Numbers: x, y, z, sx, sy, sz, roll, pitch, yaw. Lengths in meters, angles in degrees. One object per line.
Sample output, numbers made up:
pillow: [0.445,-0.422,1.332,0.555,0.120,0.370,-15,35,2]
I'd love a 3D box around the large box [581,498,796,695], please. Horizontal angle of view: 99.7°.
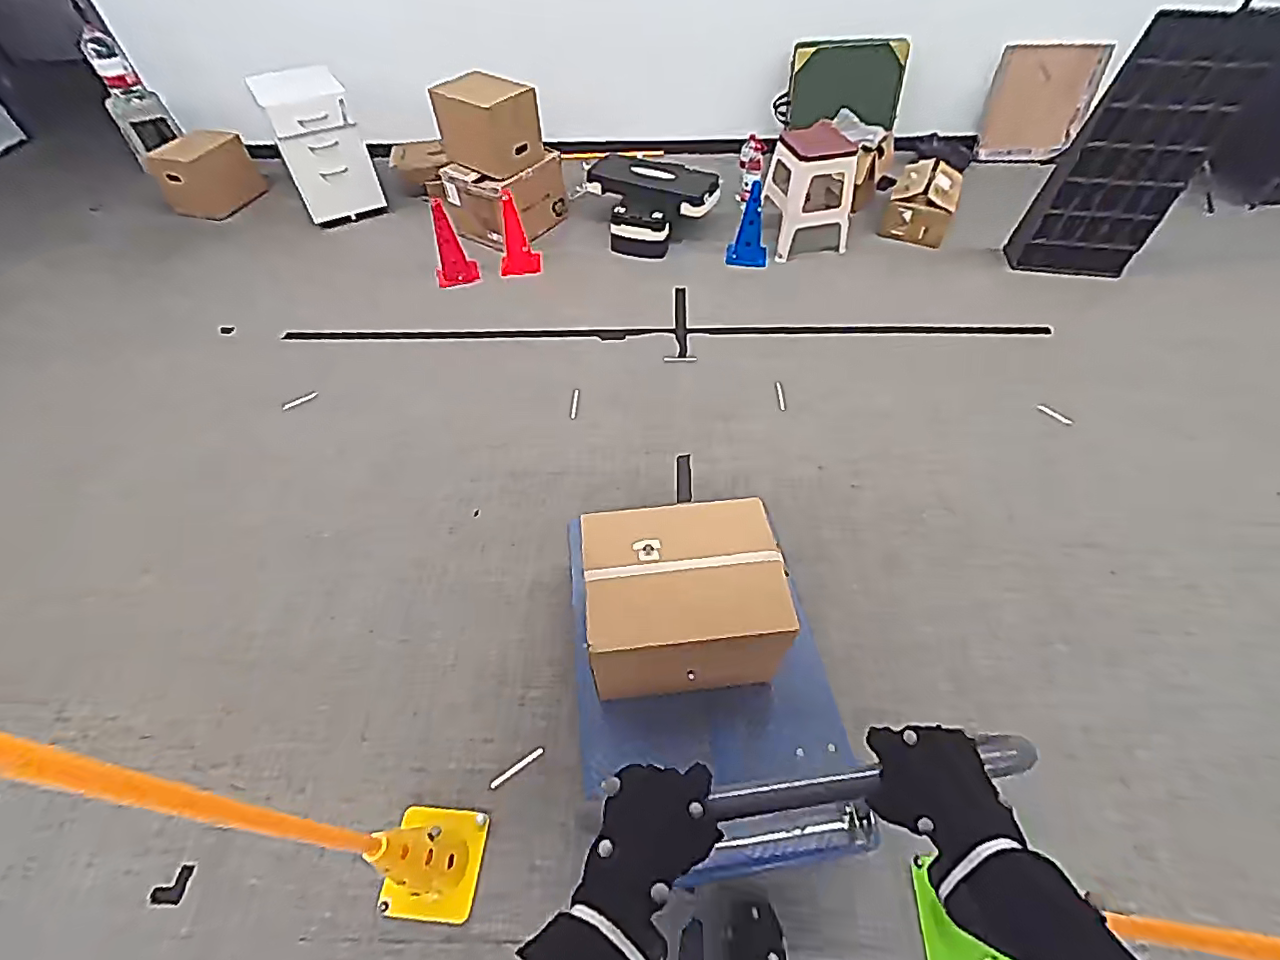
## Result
large box: [0.090,0.271,1.227,0.408,0.320,0.320,-6,52,-2]

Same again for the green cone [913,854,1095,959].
green cone: [0.681,0.793,0.980,0.202,0.368,0.200,4,52,3]
